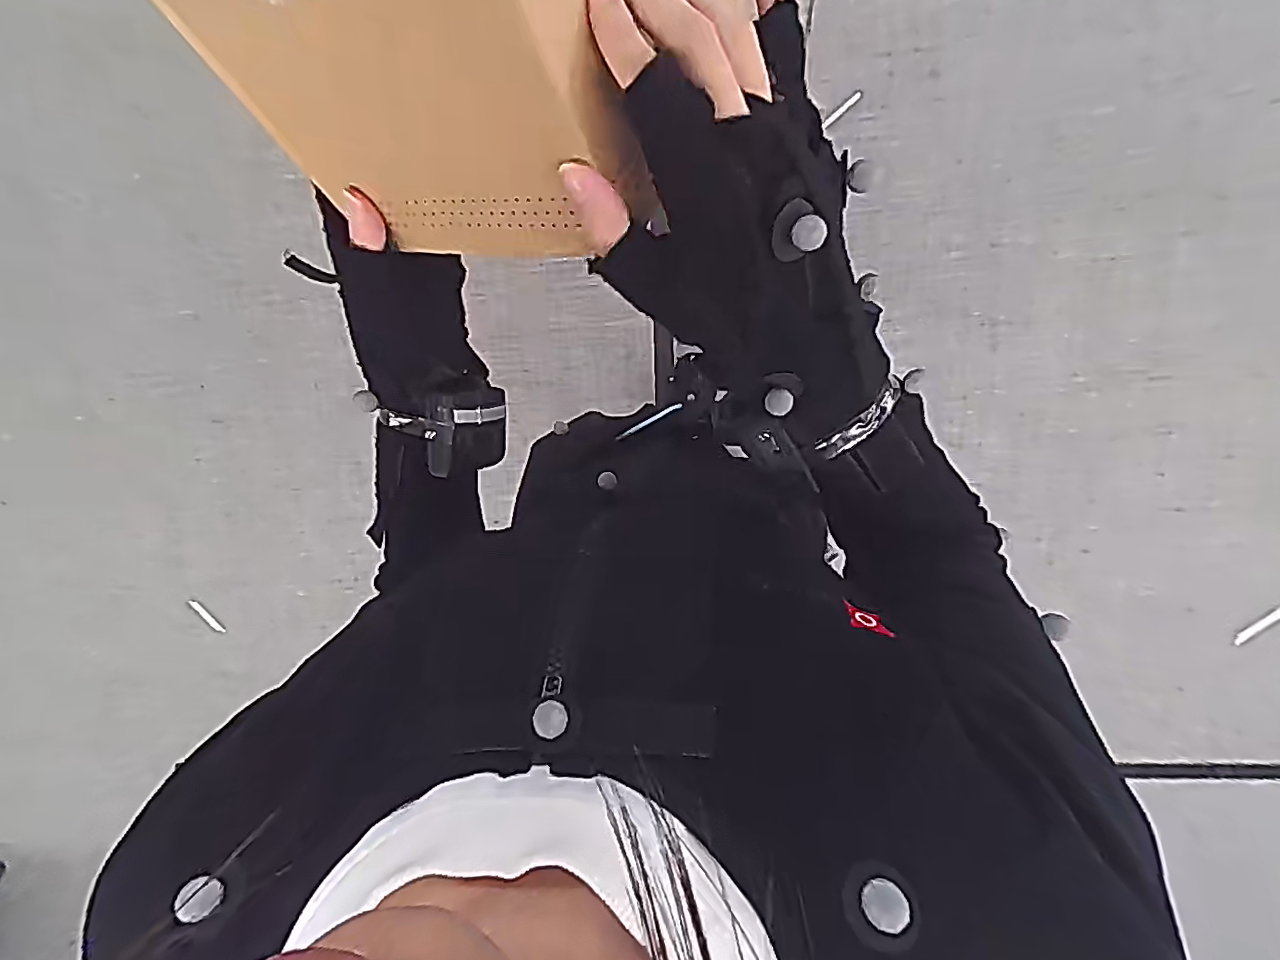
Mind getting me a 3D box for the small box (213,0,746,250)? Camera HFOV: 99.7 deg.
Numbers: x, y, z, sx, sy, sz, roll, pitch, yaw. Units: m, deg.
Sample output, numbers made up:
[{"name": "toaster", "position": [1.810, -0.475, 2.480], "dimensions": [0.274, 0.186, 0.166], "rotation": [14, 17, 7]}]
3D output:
[{"name": "small box", "position": [-0.068, -0.229, 0.249], "dimensions": [0.179, 0.176, 0.168], "rotation": [14, 69, 26]}]
